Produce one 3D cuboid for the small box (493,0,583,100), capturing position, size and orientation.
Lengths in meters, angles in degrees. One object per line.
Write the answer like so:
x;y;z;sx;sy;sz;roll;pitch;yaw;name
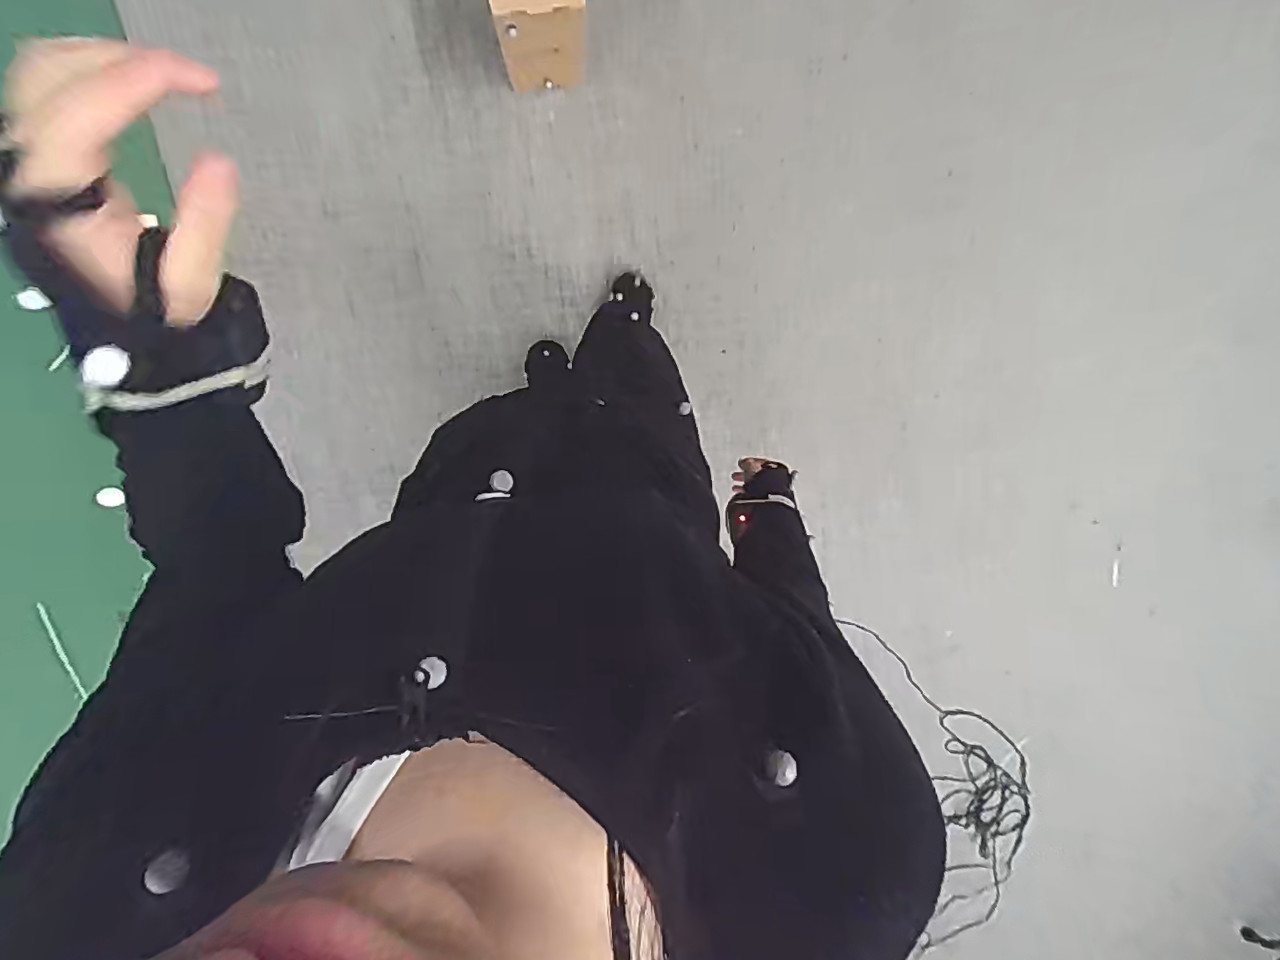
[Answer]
-0.214;-0.939;1.141;0.168;0.176;0.179;-7;108;-5;small box
